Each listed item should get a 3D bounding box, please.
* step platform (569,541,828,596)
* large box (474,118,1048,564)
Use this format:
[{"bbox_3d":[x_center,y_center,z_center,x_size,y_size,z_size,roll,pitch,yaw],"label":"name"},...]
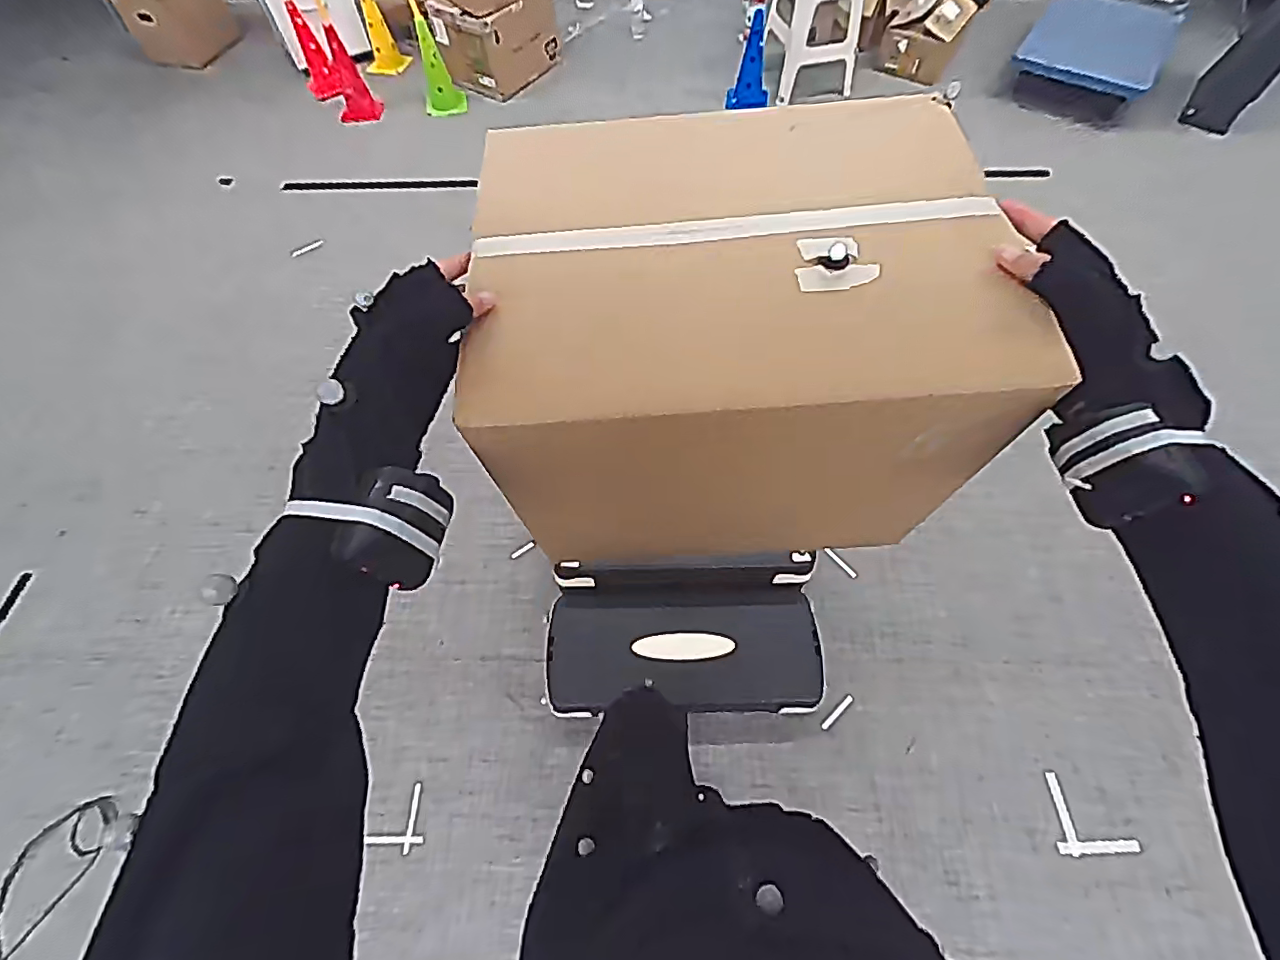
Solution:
[{"bbox_3d":[0.146,0.138,1.461,0.684,0.204,0.286,-2,61,0],"label":"step platform"},{"bbox_3d":[0.077,-0.116,0.566,0.408,0.320,0.320,-4,65,1],"label":"large box"}]
